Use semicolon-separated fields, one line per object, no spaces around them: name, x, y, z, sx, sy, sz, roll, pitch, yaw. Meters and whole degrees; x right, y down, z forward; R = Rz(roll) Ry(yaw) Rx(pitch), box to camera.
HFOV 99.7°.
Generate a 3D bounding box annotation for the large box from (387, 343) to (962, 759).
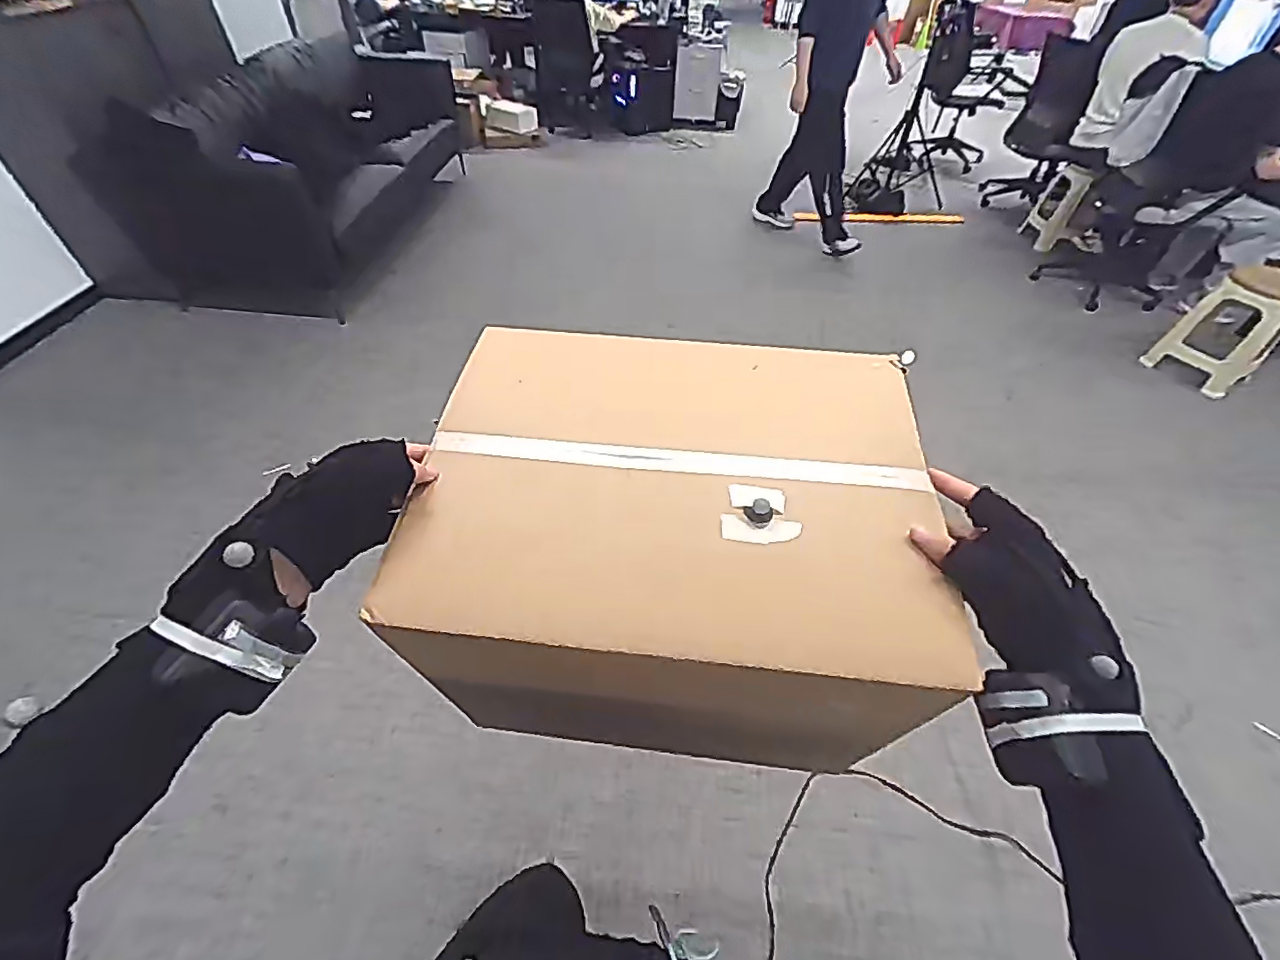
large box;0.031;0.082;0.573;0.408;0.320;0.320;5;54;4
